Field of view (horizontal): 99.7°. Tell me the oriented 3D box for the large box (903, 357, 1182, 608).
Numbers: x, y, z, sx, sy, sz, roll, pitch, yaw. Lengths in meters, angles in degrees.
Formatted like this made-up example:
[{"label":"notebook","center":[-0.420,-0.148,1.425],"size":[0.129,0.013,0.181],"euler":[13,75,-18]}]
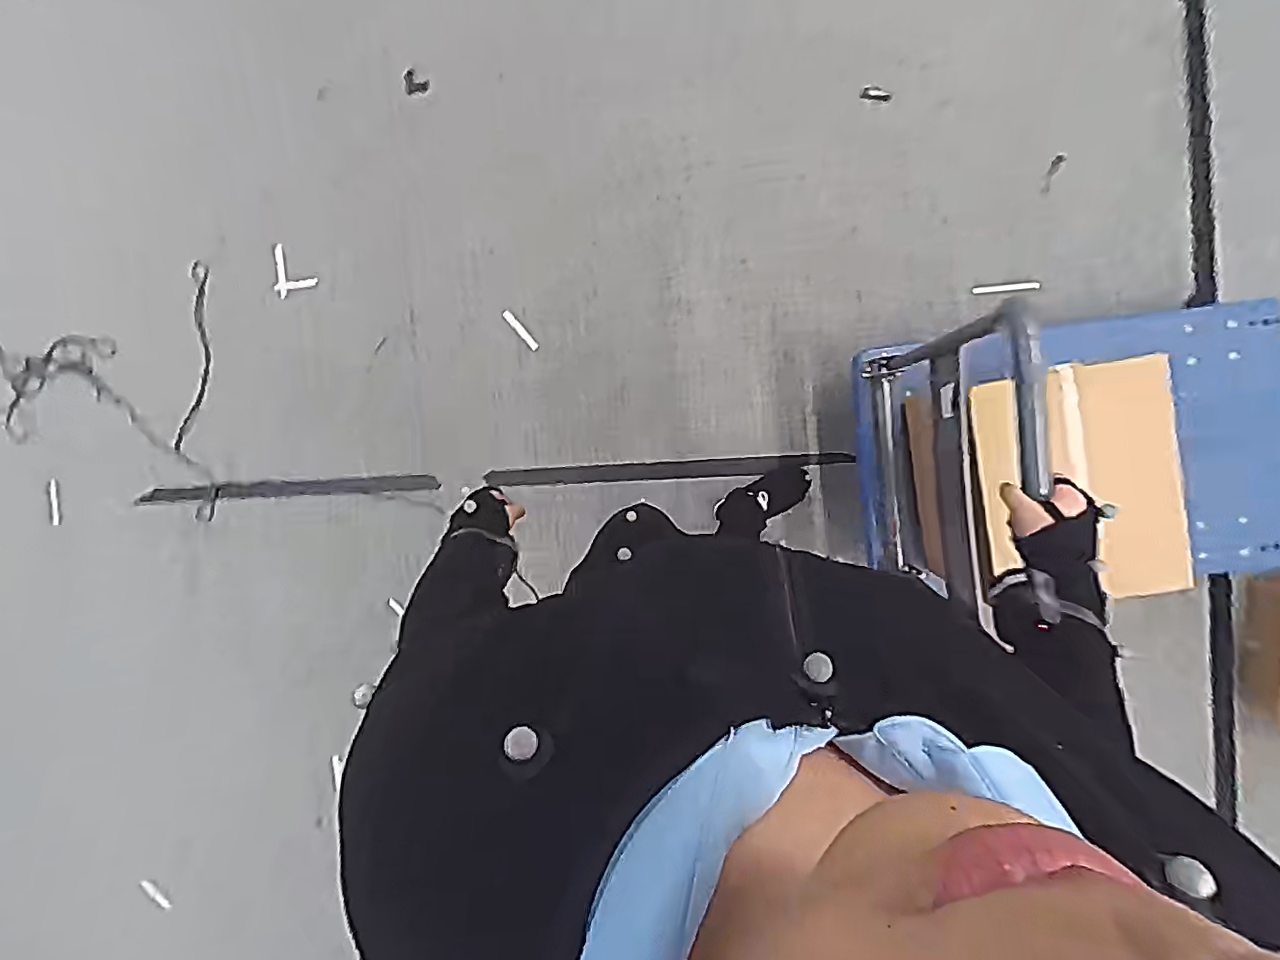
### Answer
[{"label":"large box","center":[0.767,-0.002,1.086],"size":[0.320,0.320,0.408],"euler":[-9,94,8]}]
